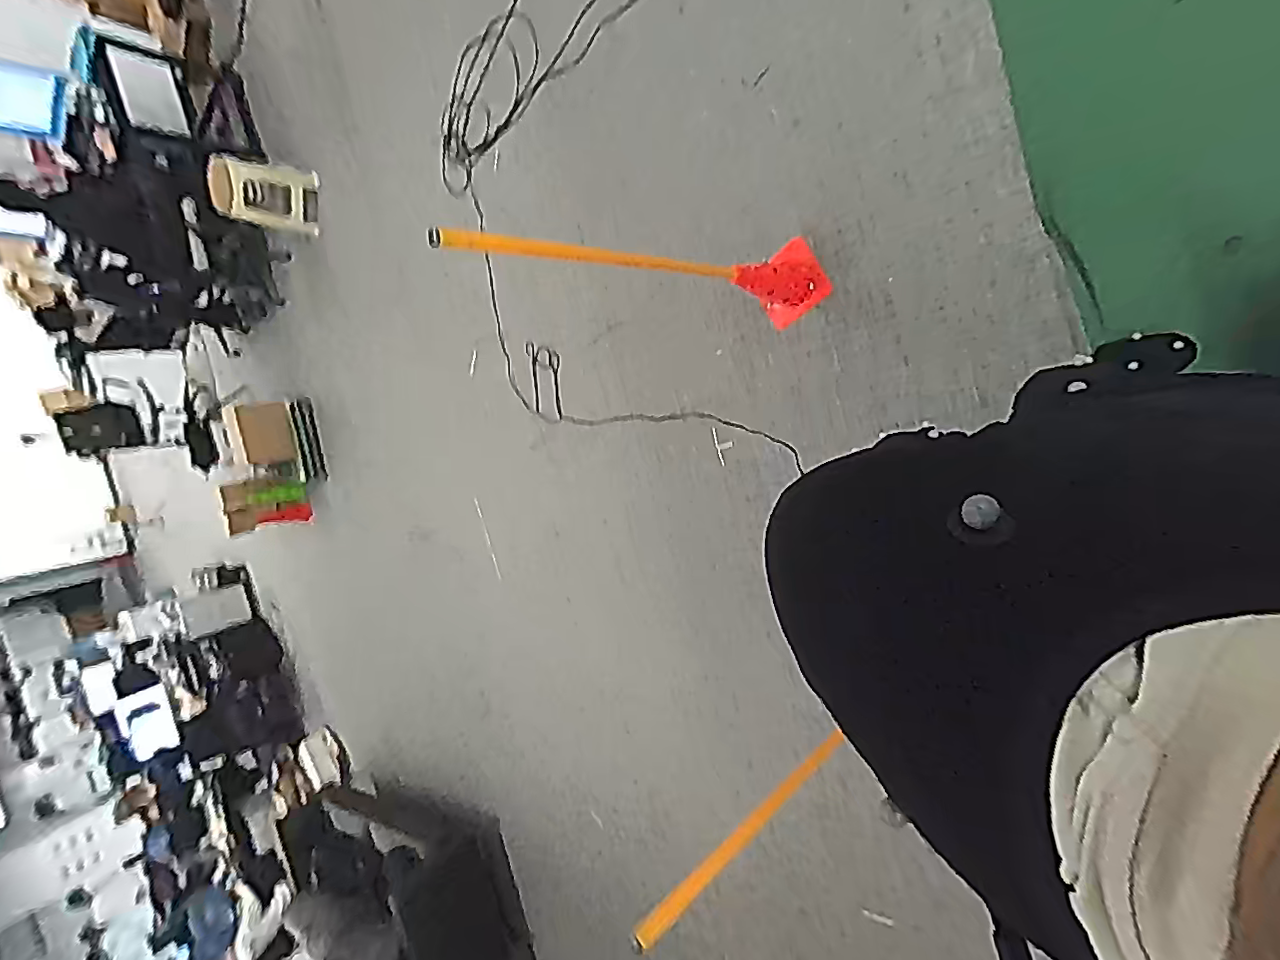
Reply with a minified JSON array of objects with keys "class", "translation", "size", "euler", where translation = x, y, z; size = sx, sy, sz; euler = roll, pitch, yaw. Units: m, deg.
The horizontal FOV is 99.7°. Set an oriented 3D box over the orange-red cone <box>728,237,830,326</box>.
[{"class":"orange-red cone","translation":[0.342,-0.559,1.487],"size":[0.198,0.360,0.199],"euler":[-33,80,39]}]
